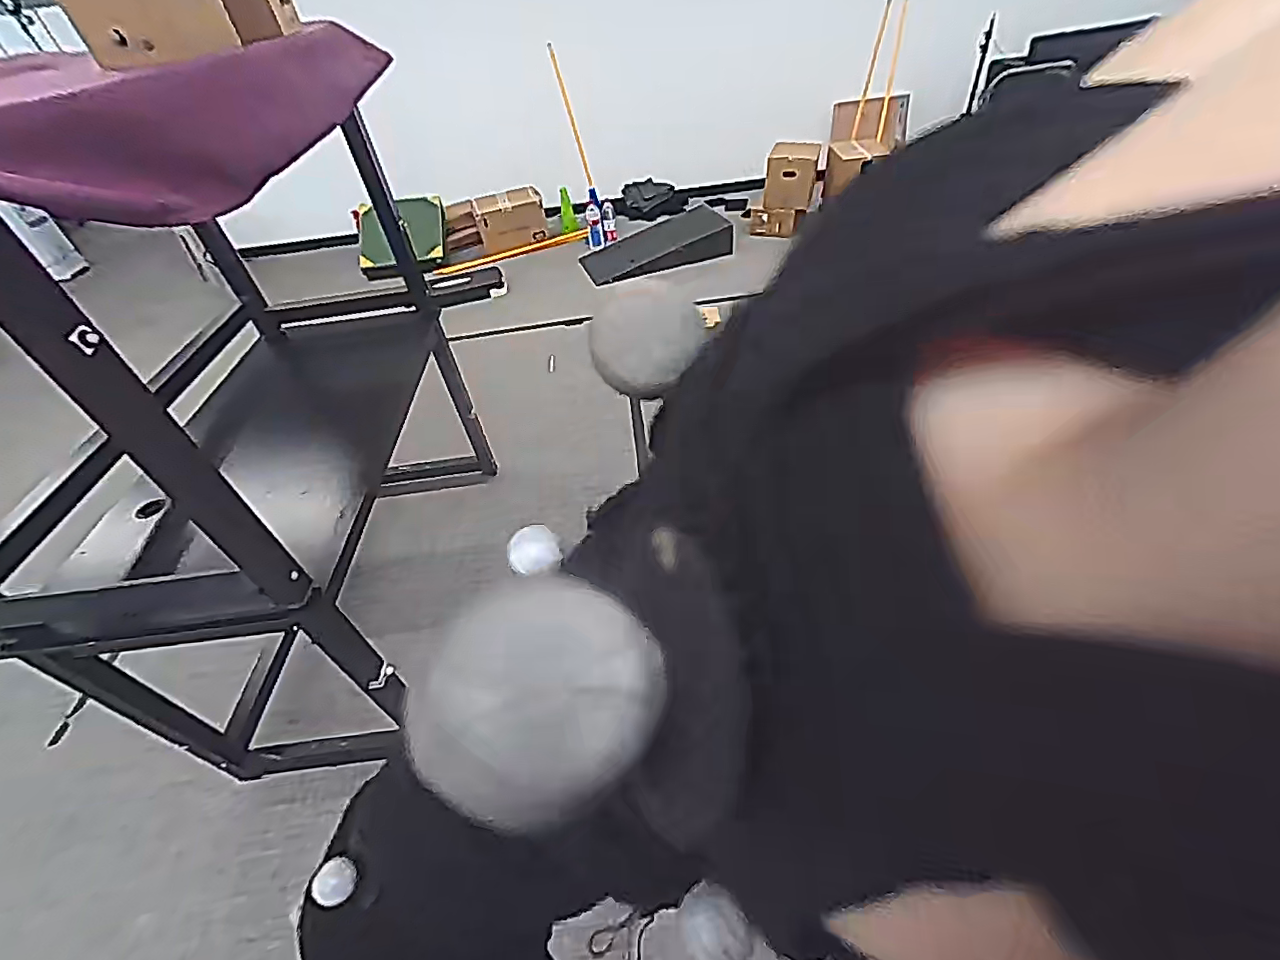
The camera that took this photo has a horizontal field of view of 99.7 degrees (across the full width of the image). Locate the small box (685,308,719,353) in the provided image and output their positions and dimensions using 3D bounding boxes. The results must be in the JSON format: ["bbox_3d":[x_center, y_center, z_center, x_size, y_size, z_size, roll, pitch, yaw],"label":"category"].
[{"bbox_3d":[0.327,-0.780,2.840,0.168,0.176,0.179,-3,43,4],"label":"small box"}]

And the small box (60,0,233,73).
[{"bbox_3d":[-0.843,-0.809,0.915,0.168,0.176,0.179,-6,44,4],"label":"small box"}]

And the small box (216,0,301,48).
[{"bbox_3d":[-0.859,-1.021,1.132,0.179,0.176,0.168,-12,45,-4],"label":"small box"}]
